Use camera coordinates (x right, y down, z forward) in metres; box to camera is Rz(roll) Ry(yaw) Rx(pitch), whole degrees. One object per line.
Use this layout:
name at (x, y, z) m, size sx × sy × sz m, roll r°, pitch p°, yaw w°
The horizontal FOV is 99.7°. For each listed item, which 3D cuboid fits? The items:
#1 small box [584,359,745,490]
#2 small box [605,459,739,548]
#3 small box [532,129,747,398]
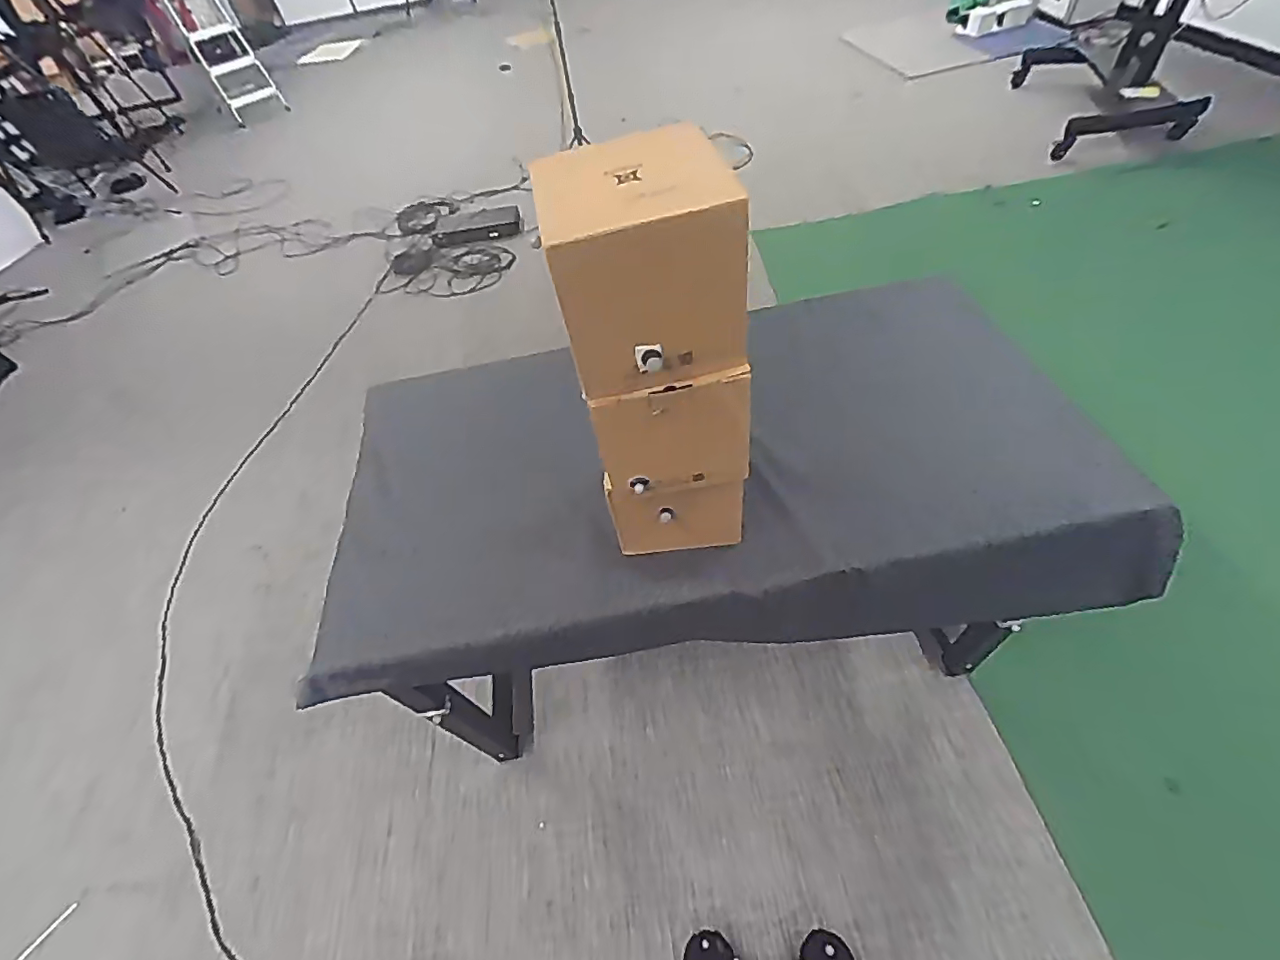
small box at (0.026, -0.105, 0.657) m, size 0.168 × 0.176 × 0.179 m, roll -13°, pitch 53°, yaw 0°
small box at (0.047, -0.015, 0.796) m, size 0.179 × 0.176 × 0.168 m, roll -8°, pitch 50°, yaw 2°
small box at (-0.001, -0.211, 0.538) m, size 0.168 × 0.176 × 0.179 m, roll -14°, pitch 52°, yaw 0°
